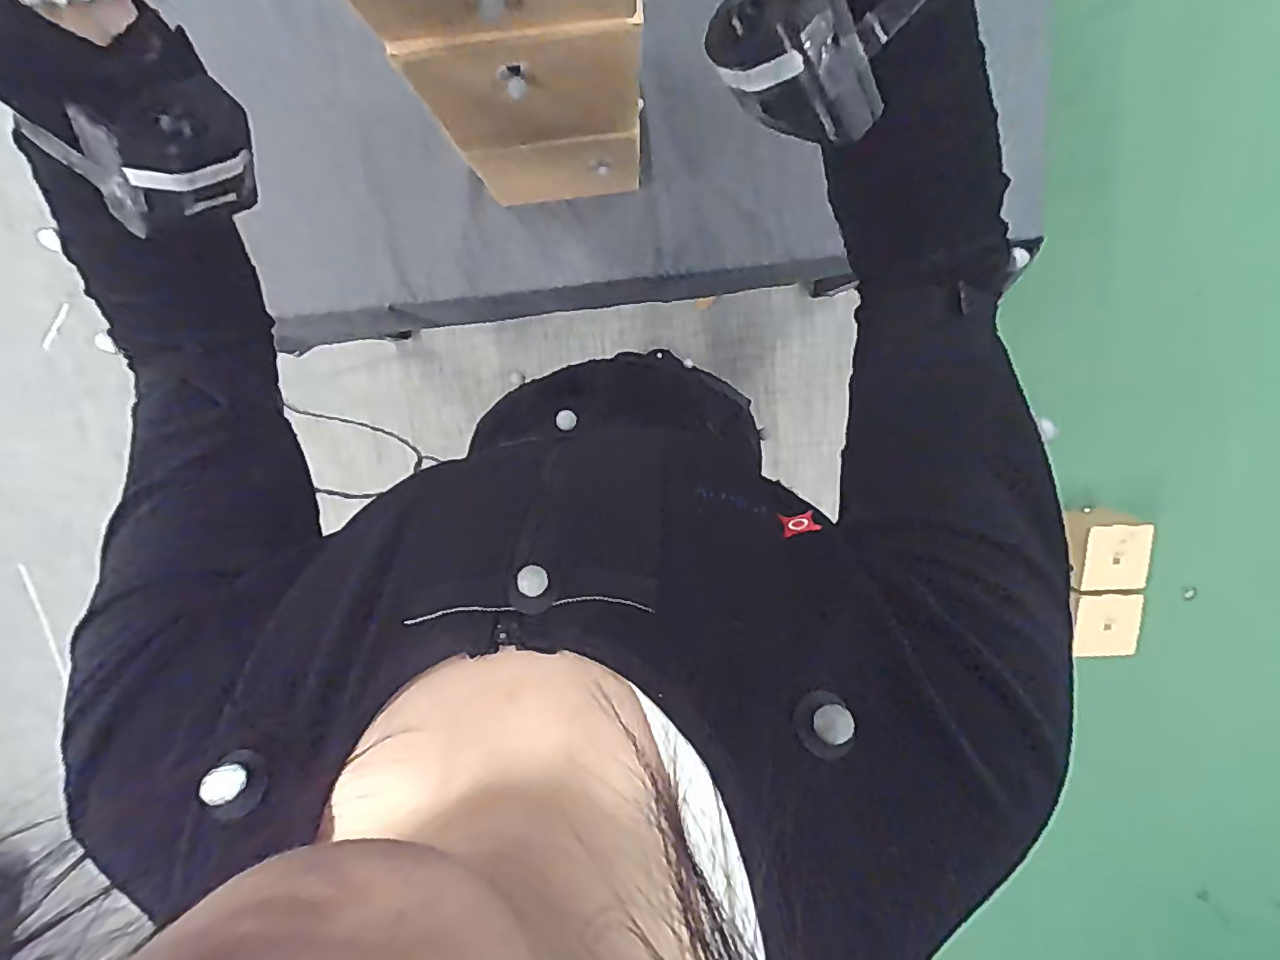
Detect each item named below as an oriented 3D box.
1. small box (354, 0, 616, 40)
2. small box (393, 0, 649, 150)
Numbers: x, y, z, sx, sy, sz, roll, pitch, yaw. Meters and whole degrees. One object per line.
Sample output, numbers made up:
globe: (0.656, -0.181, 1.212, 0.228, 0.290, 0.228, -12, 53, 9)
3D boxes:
small box: (-0.092, -0.362, 0.267, 0.179, 0.176, 0.168, -5, 100, 0)
small box: (-0.090, -0.390, 0.430, 0.179, 0.176, 0.168, -7, 102, 1)
